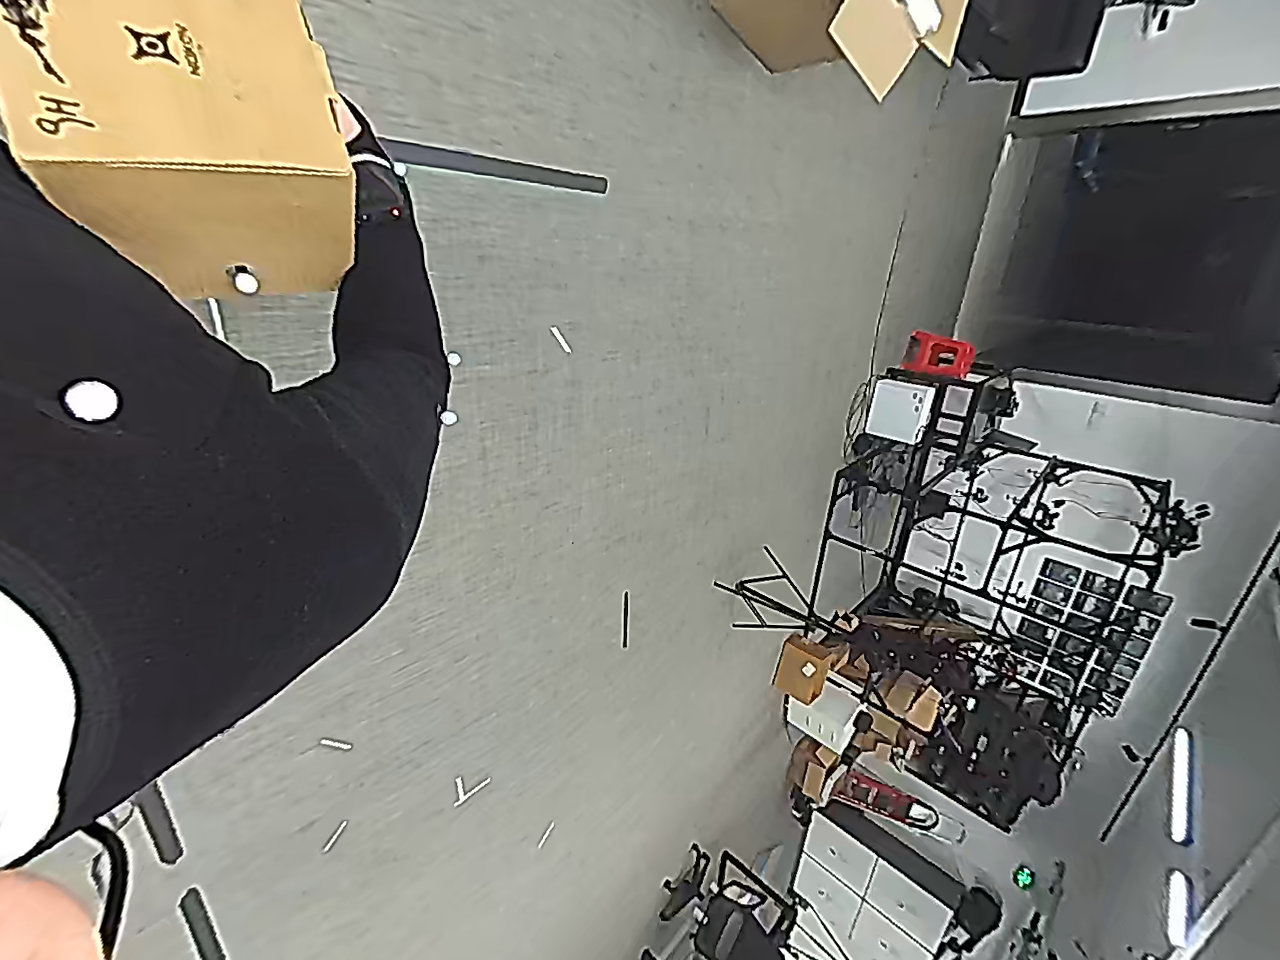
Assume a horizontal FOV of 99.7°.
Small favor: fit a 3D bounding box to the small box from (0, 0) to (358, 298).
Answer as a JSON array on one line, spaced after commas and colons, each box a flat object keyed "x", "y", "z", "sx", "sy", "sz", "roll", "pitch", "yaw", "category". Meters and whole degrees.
[{"x": -0.346, "y": -0.264, "z": 0.434, "sx": 0.179, "sy": 0.176, "sz": 0.168, "roll": -16, "pitch": 86, "yaw": -31, "category": "small box"}]
